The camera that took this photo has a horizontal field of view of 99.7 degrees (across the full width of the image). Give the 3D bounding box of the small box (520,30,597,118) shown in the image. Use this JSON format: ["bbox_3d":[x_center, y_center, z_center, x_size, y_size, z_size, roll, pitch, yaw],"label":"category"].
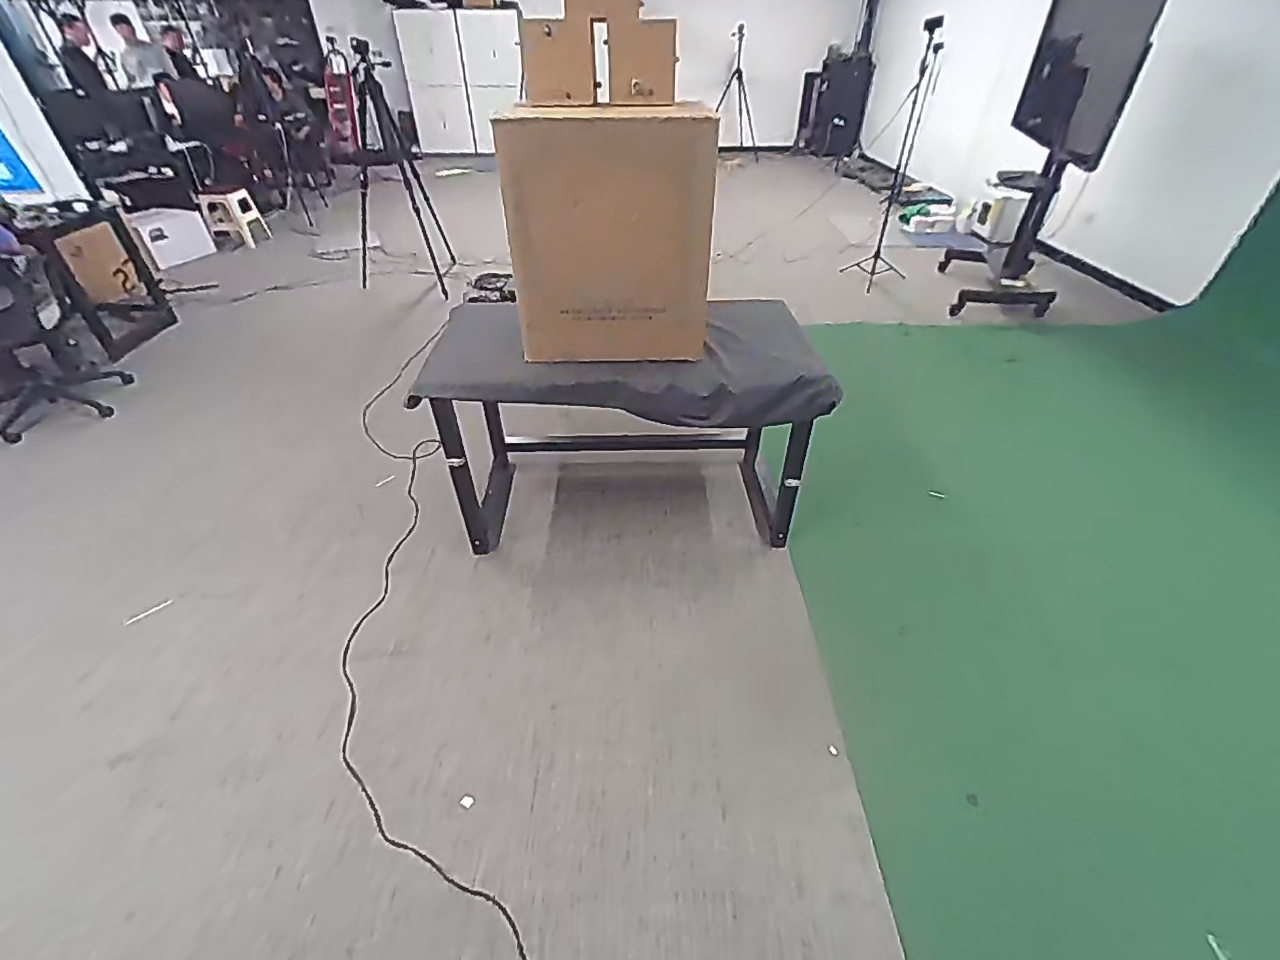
[{"bbox_3d":[-0.198,-1.026,1.372,0.168,0.176,0.179,-1,36,1],"label":"small box"}]

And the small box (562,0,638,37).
[{"bbox_3d":[-0.092,-1.166,1.287,0.179,0.176,0.168,-1,36,-1],"label":"small box"}]
